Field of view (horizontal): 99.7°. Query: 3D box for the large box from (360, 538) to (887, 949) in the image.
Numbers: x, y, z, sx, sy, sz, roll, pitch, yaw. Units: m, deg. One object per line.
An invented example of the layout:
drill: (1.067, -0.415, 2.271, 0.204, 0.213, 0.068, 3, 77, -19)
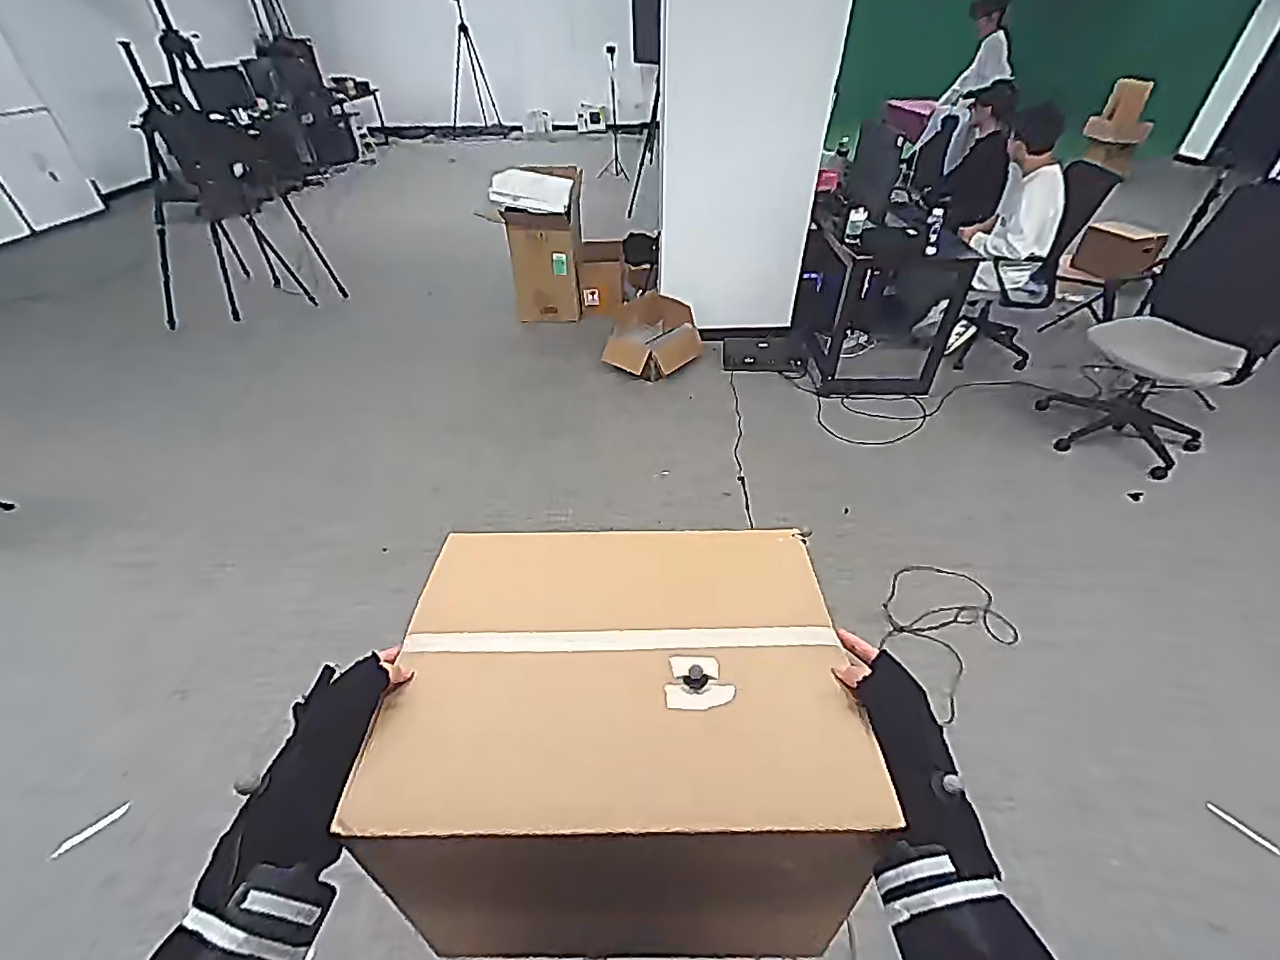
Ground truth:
large box: (-0.014, 0.281, 0.606, 0.408, 0.320, 0.320, 0, 37, 0)
